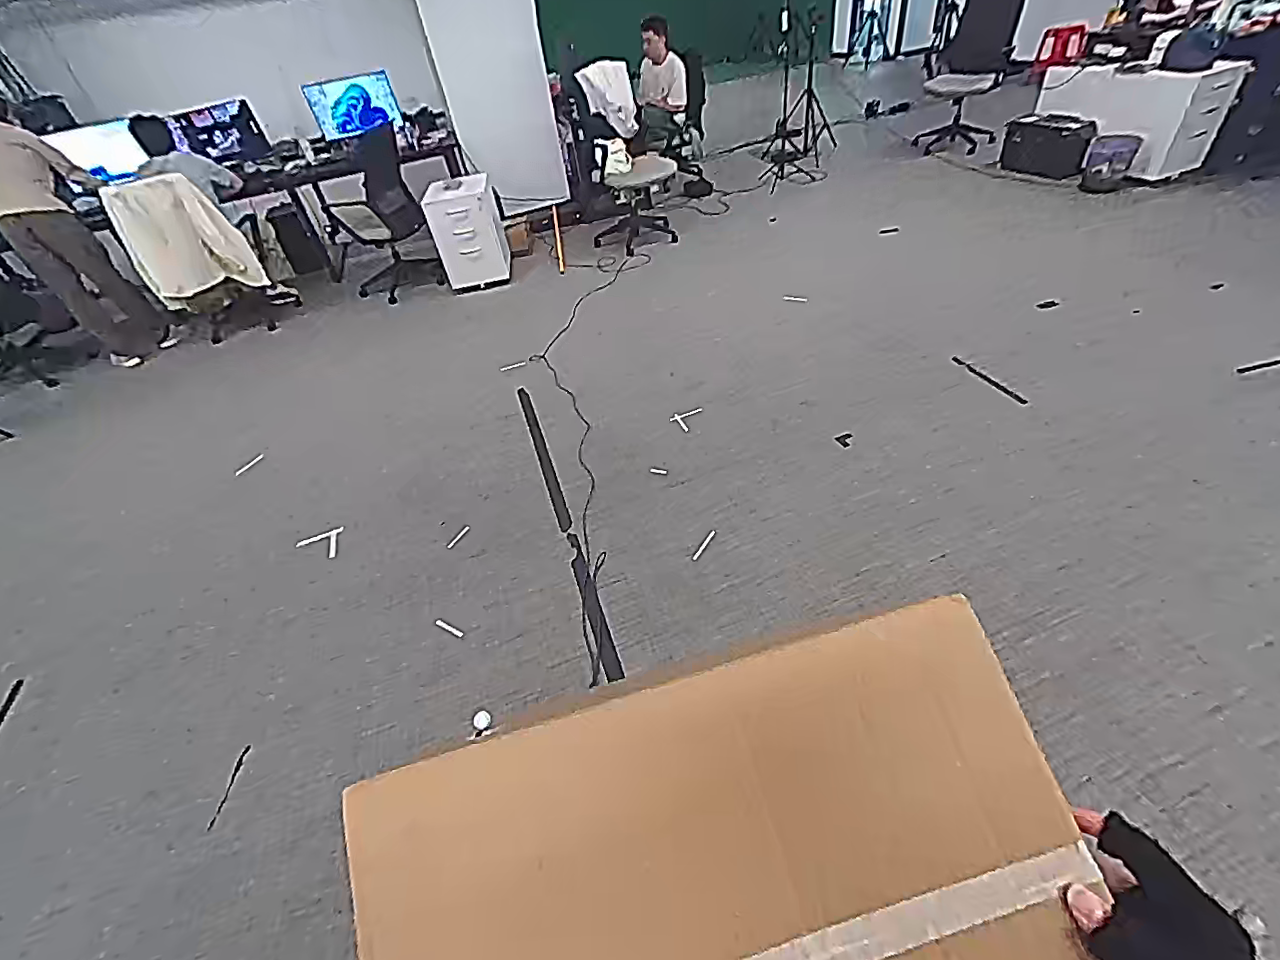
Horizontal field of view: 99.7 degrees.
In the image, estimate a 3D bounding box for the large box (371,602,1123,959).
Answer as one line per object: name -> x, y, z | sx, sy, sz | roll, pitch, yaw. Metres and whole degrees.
large box -> 0.067, 0.323, 0.444 | 0.408, 0.320, 0.320 | -16, 73, -4
